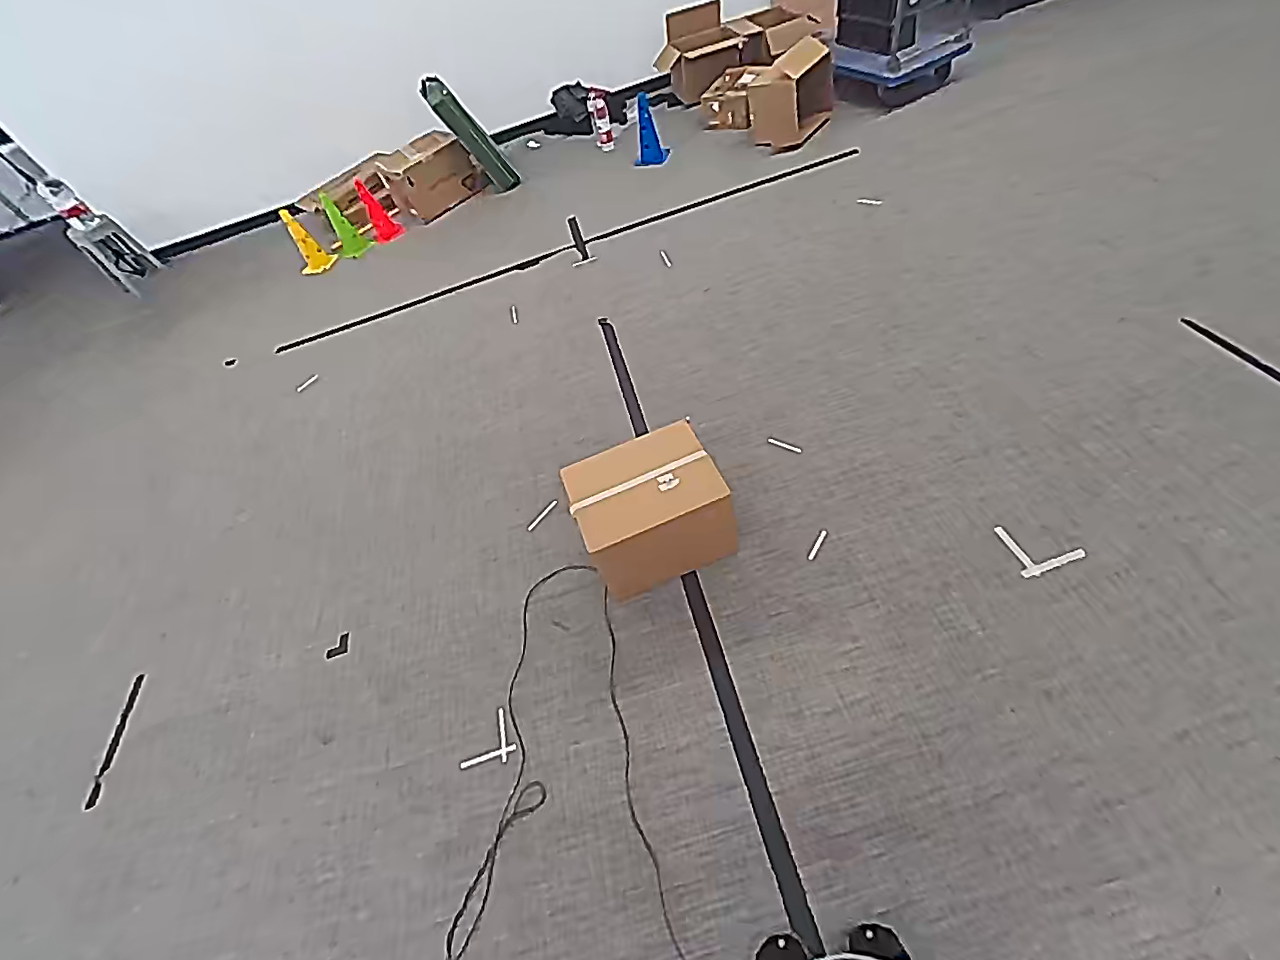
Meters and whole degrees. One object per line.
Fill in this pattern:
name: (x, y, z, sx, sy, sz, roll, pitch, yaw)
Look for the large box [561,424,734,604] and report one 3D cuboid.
large box: (0.028, 0.105, 1.602, 0.408, 0.320, 0.320, -22, 52, -4)
